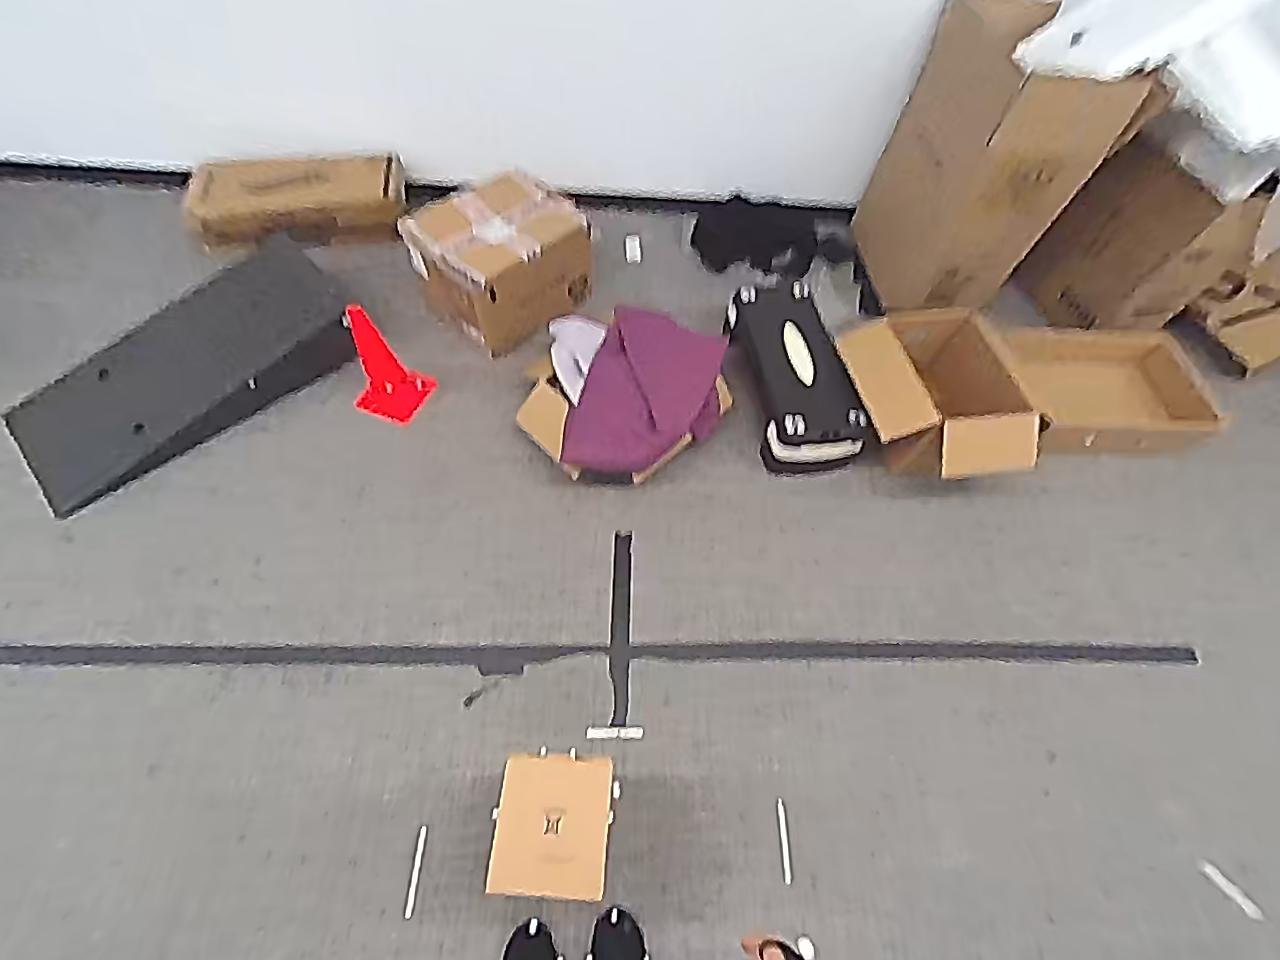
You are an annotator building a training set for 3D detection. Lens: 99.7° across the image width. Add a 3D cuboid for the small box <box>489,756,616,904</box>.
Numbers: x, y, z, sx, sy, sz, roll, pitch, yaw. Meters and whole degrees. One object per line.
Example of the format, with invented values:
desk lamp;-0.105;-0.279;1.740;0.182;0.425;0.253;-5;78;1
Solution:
small box;-0.129;0.547;0.860;0.168;0.176;0.179;4;60;-1
